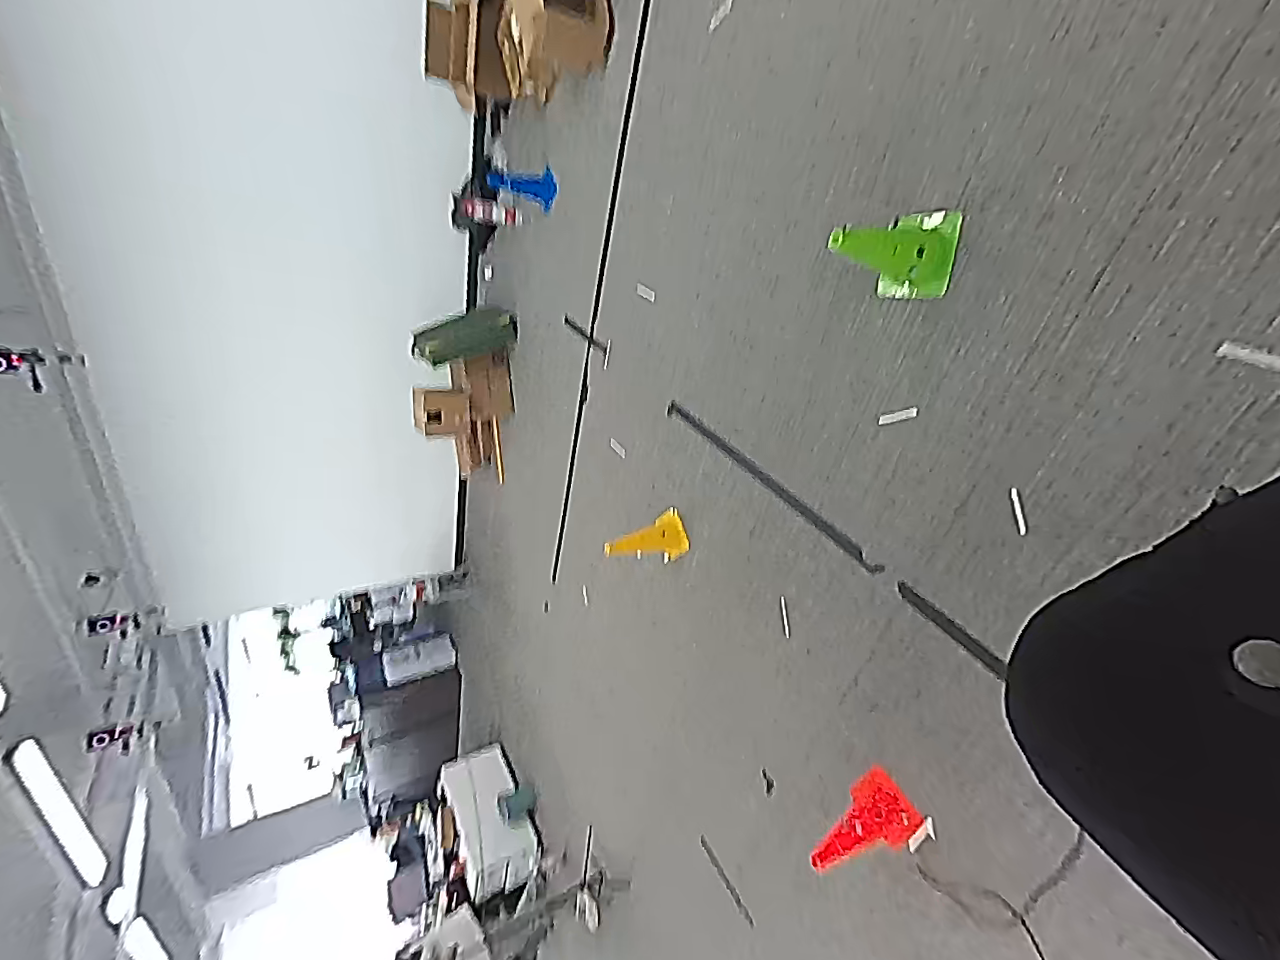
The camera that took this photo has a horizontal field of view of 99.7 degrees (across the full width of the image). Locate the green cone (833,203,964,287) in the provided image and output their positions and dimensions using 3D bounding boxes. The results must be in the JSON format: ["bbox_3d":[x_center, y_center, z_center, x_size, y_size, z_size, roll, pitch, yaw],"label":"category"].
[{"bbox_3d":[0.603,-0.596,1.344,0.202,0.368,0.200,27,120,51],"label":"green cone"}]

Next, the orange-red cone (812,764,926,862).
[{"bbox_3d":[0.659,1.063,1.654,0.199,0.360,0.198,54,138,38],"label":"orange-red cone"}]
